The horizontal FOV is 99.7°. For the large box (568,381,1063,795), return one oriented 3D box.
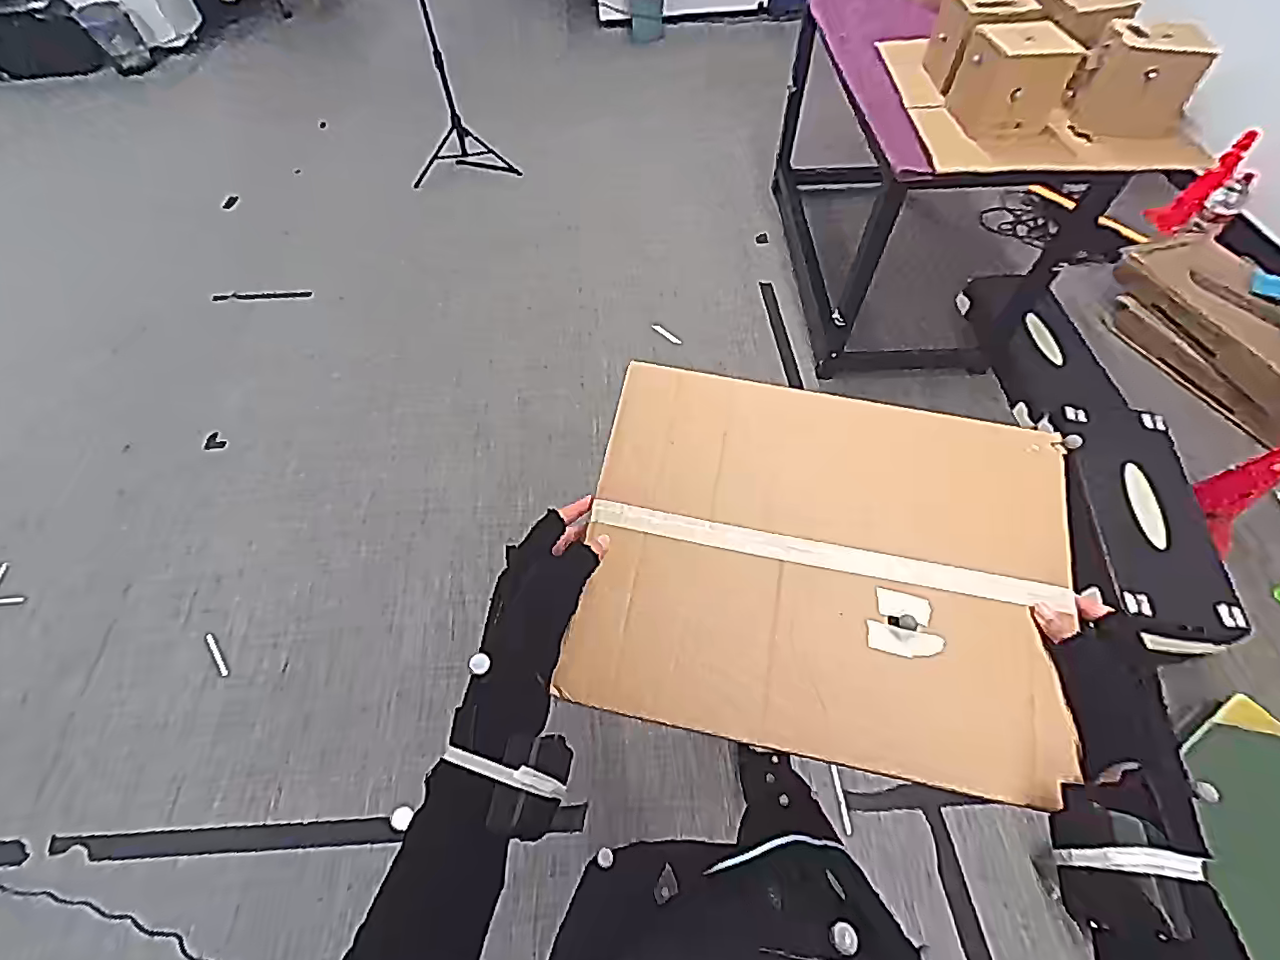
[{"bbox_3d":[0.161,0.123,0.621,0.408,0.320,0.320,11,71,5],"label":"large box"}]
